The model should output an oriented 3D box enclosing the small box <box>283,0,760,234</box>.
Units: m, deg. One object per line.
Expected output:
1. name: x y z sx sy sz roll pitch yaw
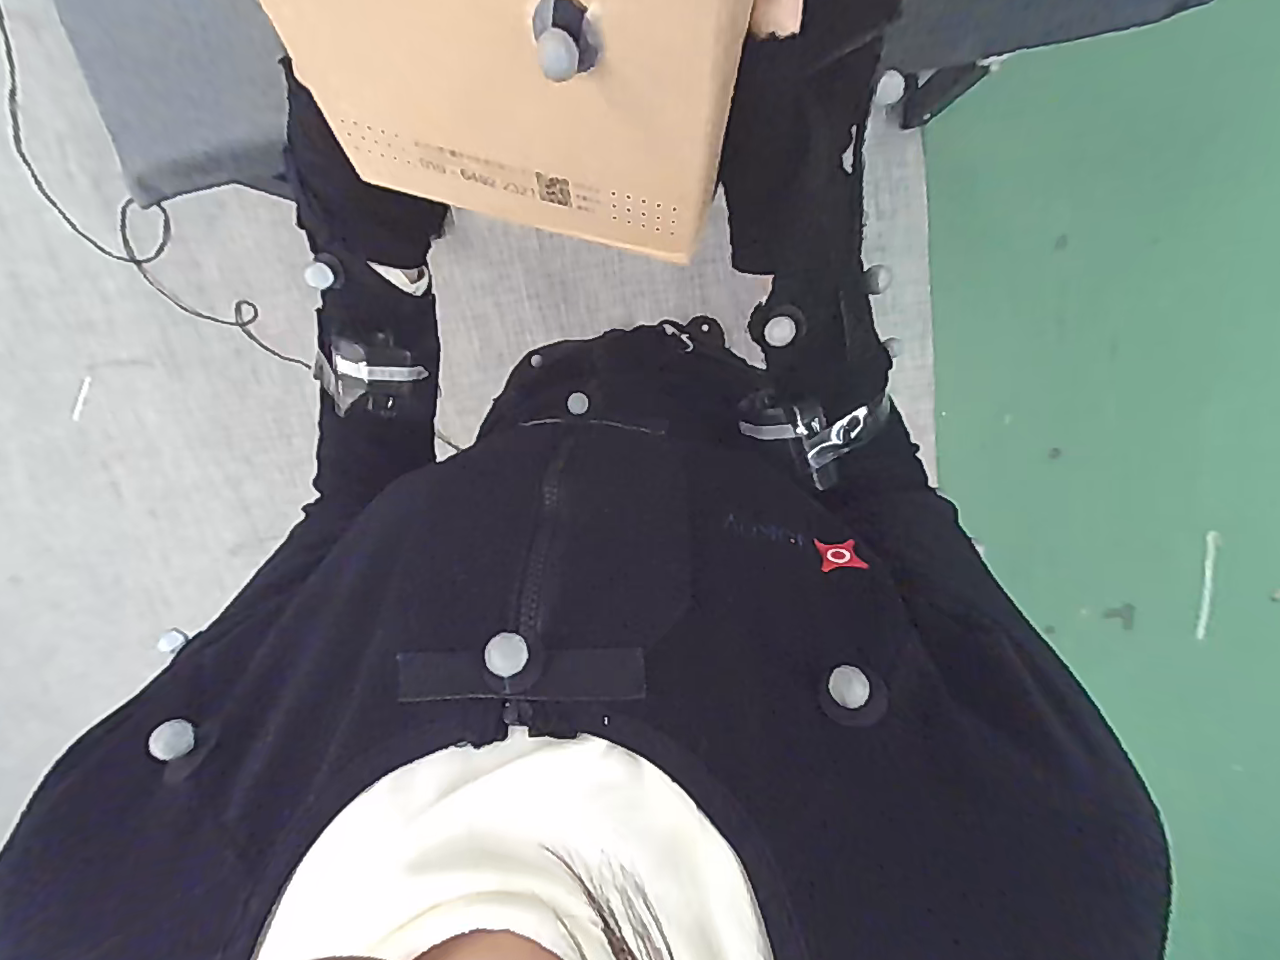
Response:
1. small box: -0.033 -0.231 0.204 0.168 0.176 0.179 18 72 4
